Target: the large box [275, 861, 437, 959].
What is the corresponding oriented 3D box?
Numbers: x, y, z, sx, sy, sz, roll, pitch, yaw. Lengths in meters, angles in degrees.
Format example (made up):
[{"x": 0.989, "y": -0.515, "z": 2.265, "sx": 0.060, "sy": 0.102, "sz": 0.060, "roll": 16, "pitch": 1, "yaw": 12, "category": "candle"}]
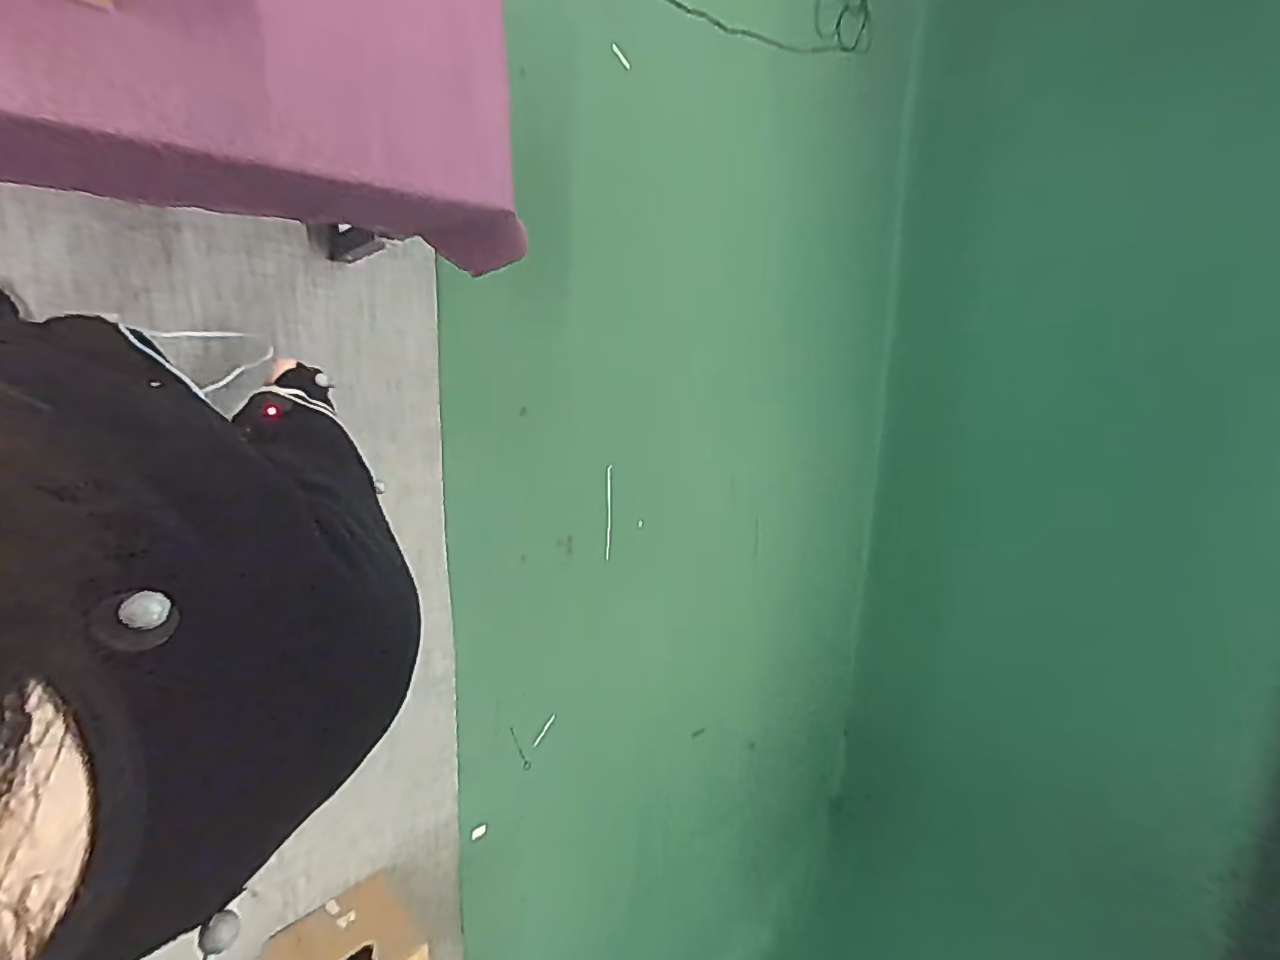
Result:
[{"x": -0.772, "y": 1.401, "z": 1.500, "sx": 0.320, "sy": 0.320, "sz": 0.408, "roll": -12, "pitch": 108, "yaw": -43, "category": "large box"}]
